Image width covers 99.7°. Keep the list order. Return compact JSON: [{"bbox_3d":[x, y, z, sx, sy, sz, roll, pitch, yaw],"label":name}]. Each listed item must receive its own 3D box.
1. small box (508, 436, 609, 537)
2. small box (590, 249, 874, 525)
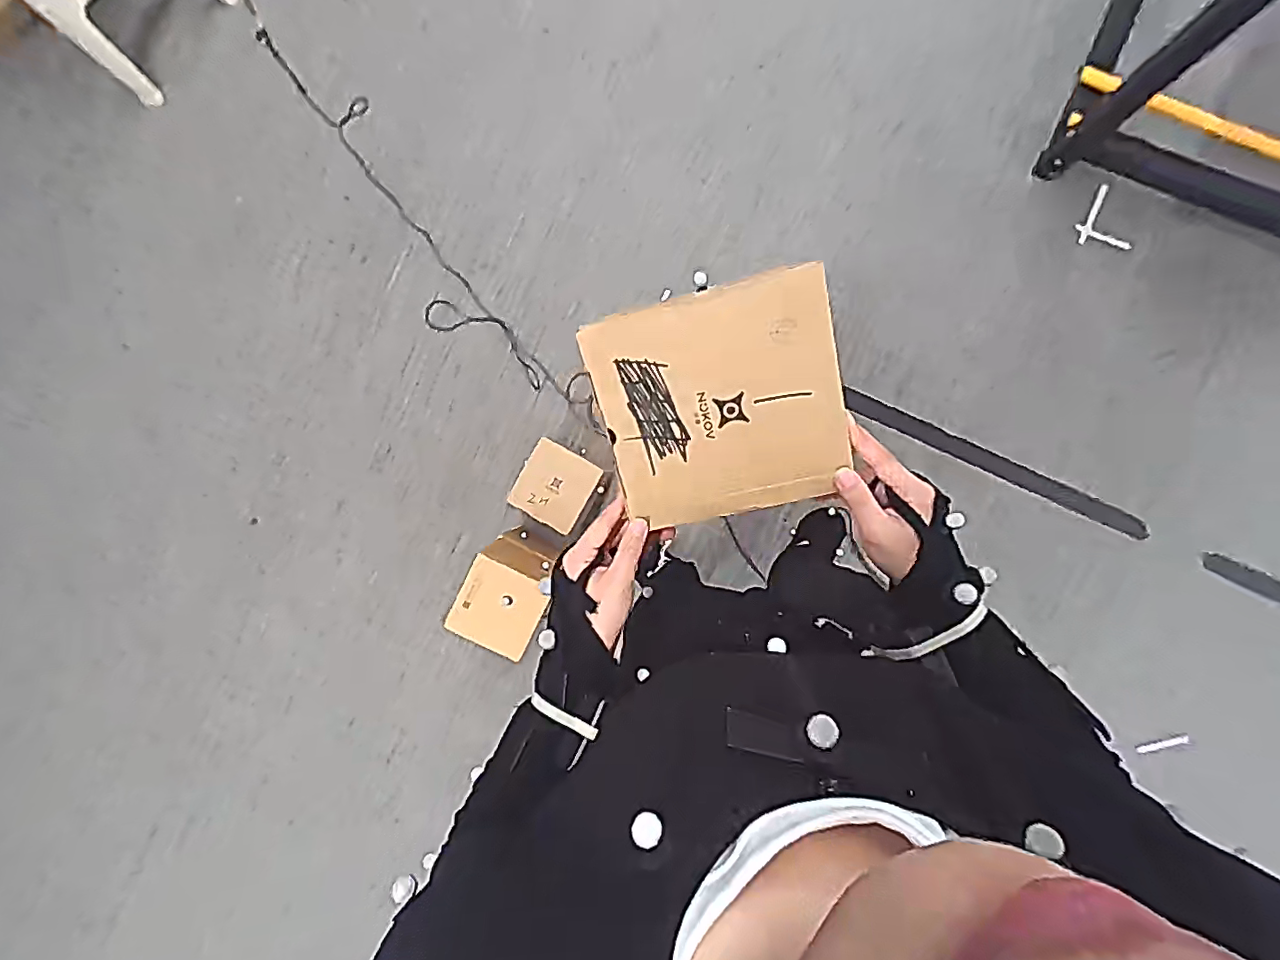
[{"bbox_3d":[-0.184,0.014,1.292,0.168,0.176,0.179,29,93,4],"label":"small box"},{"bbox_3d":[0.075,-0.083,0.456,0.179,0.176,0.168,-12,109,9],"label":"small box"}]
